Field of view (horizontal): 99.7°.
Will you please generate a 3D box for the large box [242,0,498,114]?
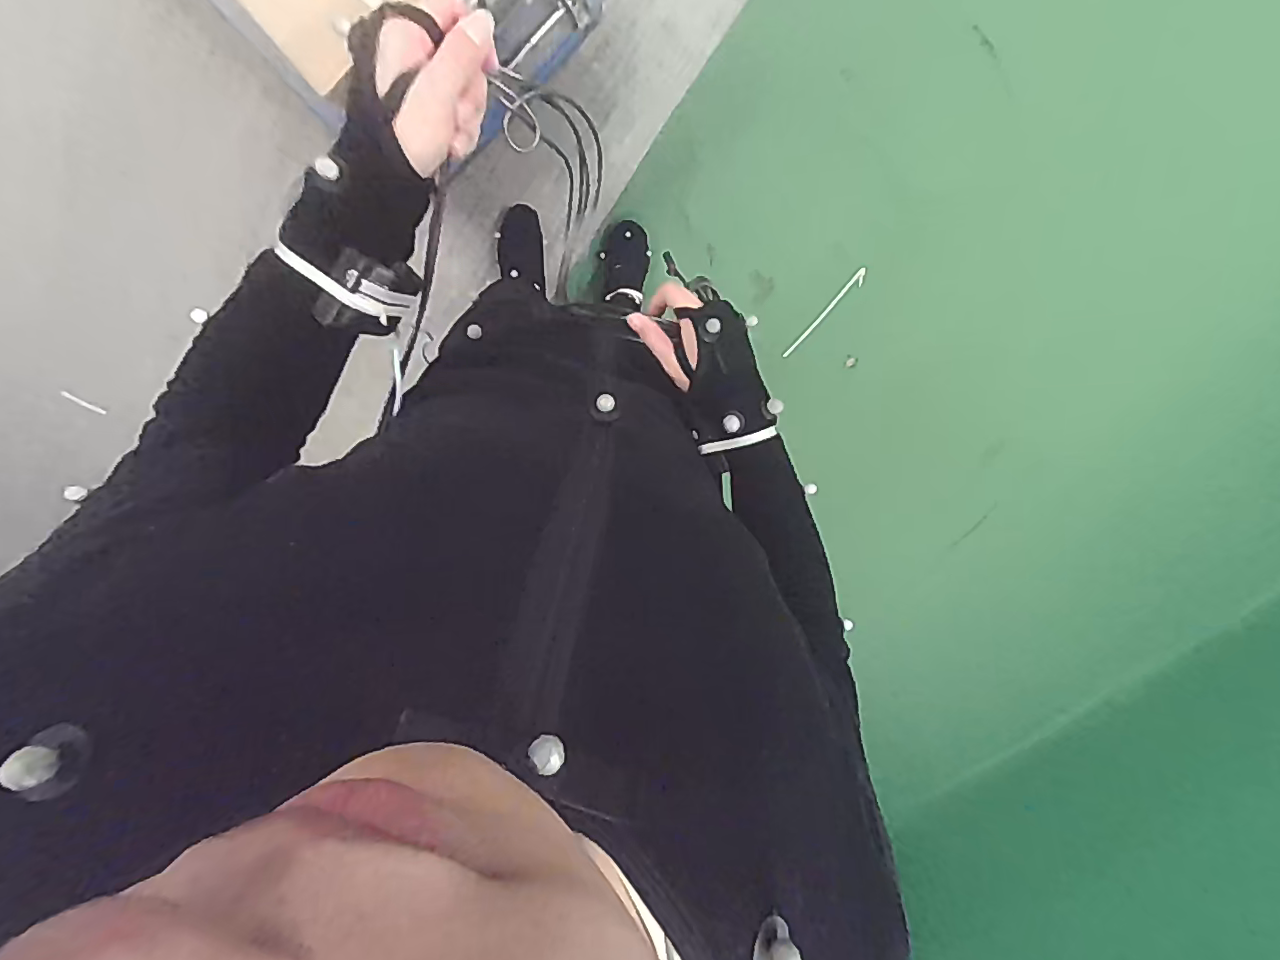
[{"bbox_3d":[-0.490,-0.881,0.846,0.320,0.320,0.408,-34,116,13],"label":"large box"}]
